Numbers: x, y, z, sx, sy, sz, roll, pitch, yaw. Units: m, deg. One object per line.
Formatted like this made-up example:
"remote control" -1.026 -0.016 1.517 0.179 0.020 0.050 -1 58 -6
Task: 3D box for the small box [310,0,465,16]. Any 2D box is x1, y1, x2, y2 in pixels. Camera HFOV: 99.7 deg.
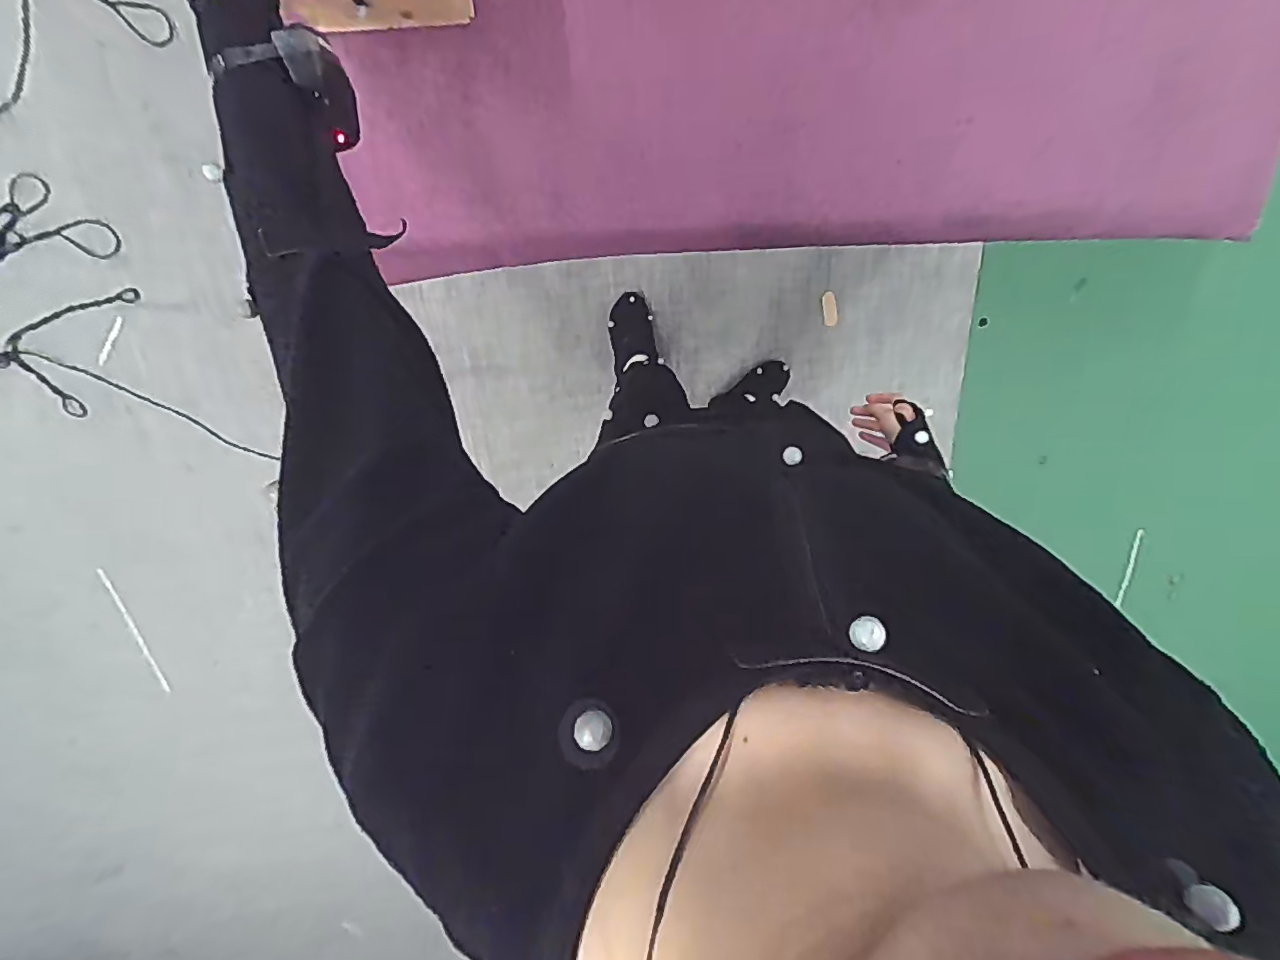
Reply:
"small box" -0.258 -0.534 0.454 0.168 0.176 0.179 -5 113 -2
